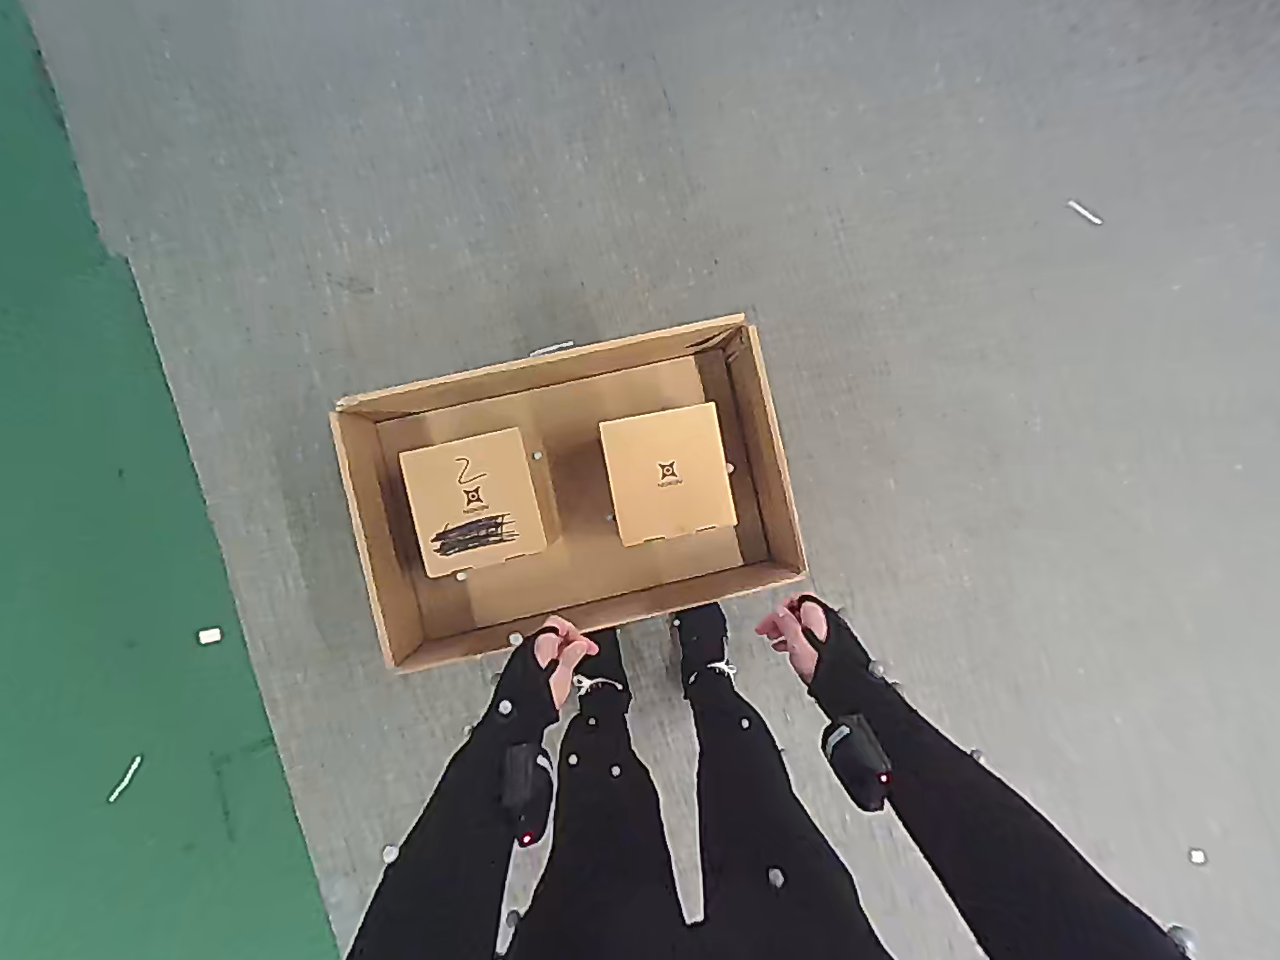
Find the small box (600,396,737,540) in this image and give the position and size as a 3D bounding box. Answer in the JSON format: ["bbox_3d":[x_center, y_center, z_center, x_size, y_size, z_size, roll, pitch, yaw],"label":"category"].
[{"bbox_3d":[0.034,-0.016,0.816,0.168,0.176,0.179,-11,91,-3],"label":"small box"}]
